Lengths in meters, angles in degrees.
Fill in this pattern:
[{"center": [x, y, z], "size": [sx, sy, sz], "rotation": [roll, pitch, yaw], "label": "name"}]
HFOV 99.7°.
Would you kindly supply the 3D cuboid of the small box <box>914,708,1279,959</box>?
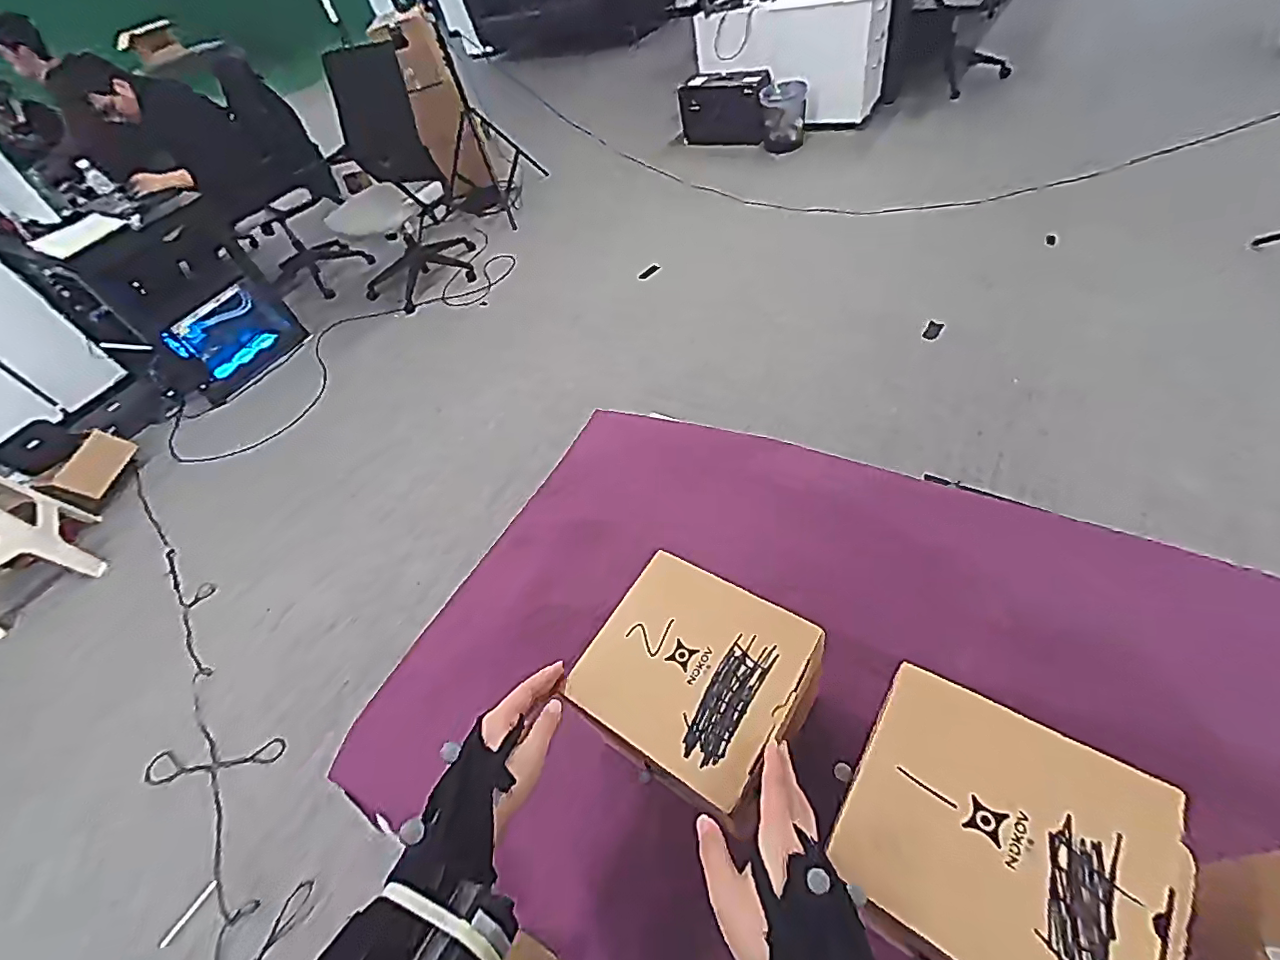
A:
[{"center": [0.300, 0.284, 0.379], "size": [0.179, 0.176, 0.168], "rotation": [1, 91, 21], "label": "small box"}]
